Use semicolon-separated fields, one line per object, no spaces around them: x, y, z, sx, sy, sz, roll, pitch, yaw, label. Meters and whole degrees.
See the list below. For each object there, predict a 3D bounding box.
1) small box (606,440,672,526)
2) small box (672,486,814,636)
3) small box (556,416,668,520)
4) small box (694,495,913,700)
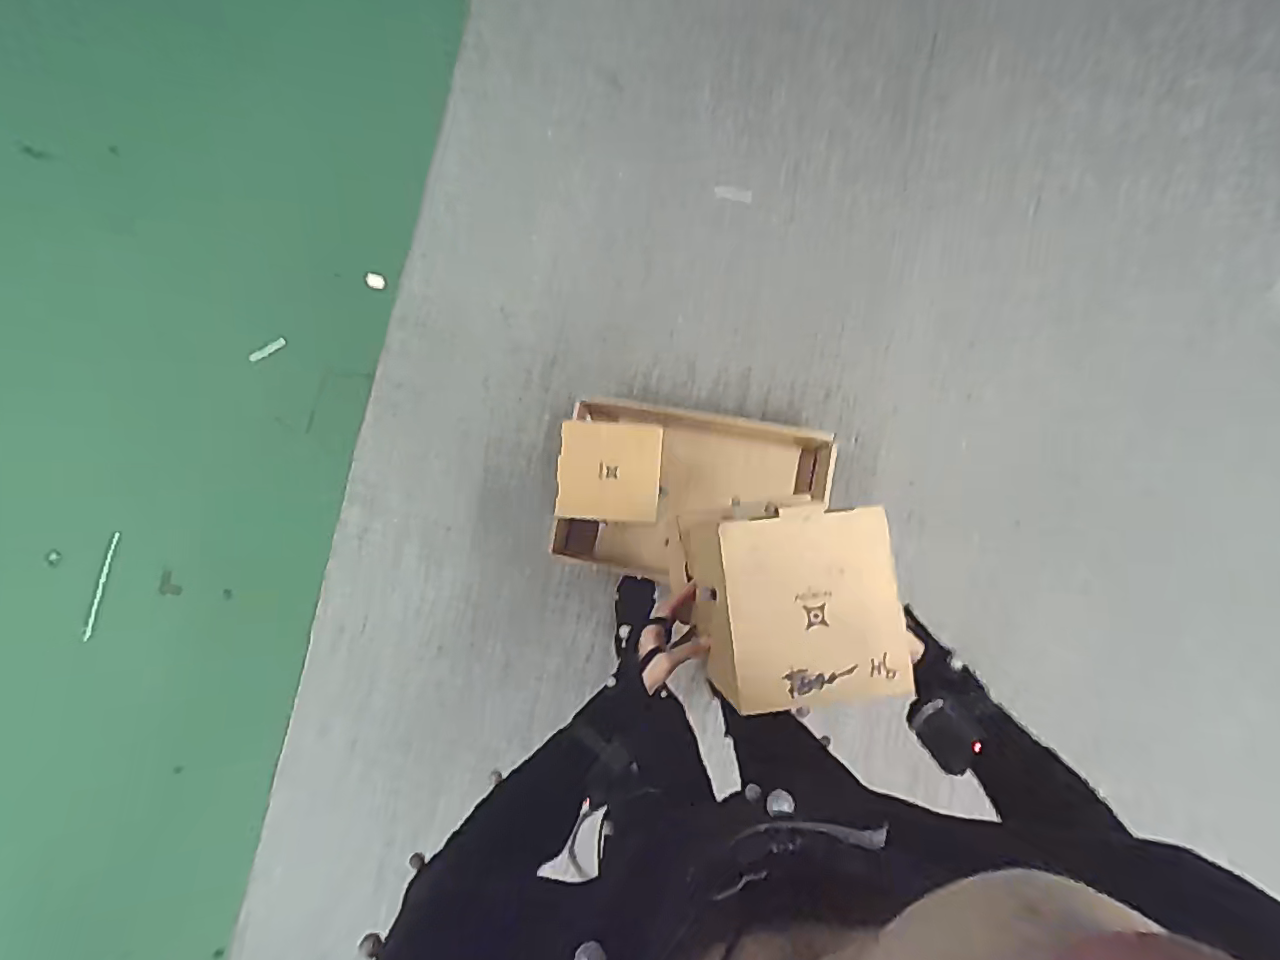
-0.026;-0.007;1.144;0.168;0.176;0.179;11;88;5;small box
0.143;0.111;0.748;0.179;0.176;0.168;-9;83;-4;small box
-0.042;-0.019;0.982;0.179;0.176;0.168;4;88;5;small box
0.157;0.118;0.580;0.168;0.176;0.179;-6;82;-4;small box
